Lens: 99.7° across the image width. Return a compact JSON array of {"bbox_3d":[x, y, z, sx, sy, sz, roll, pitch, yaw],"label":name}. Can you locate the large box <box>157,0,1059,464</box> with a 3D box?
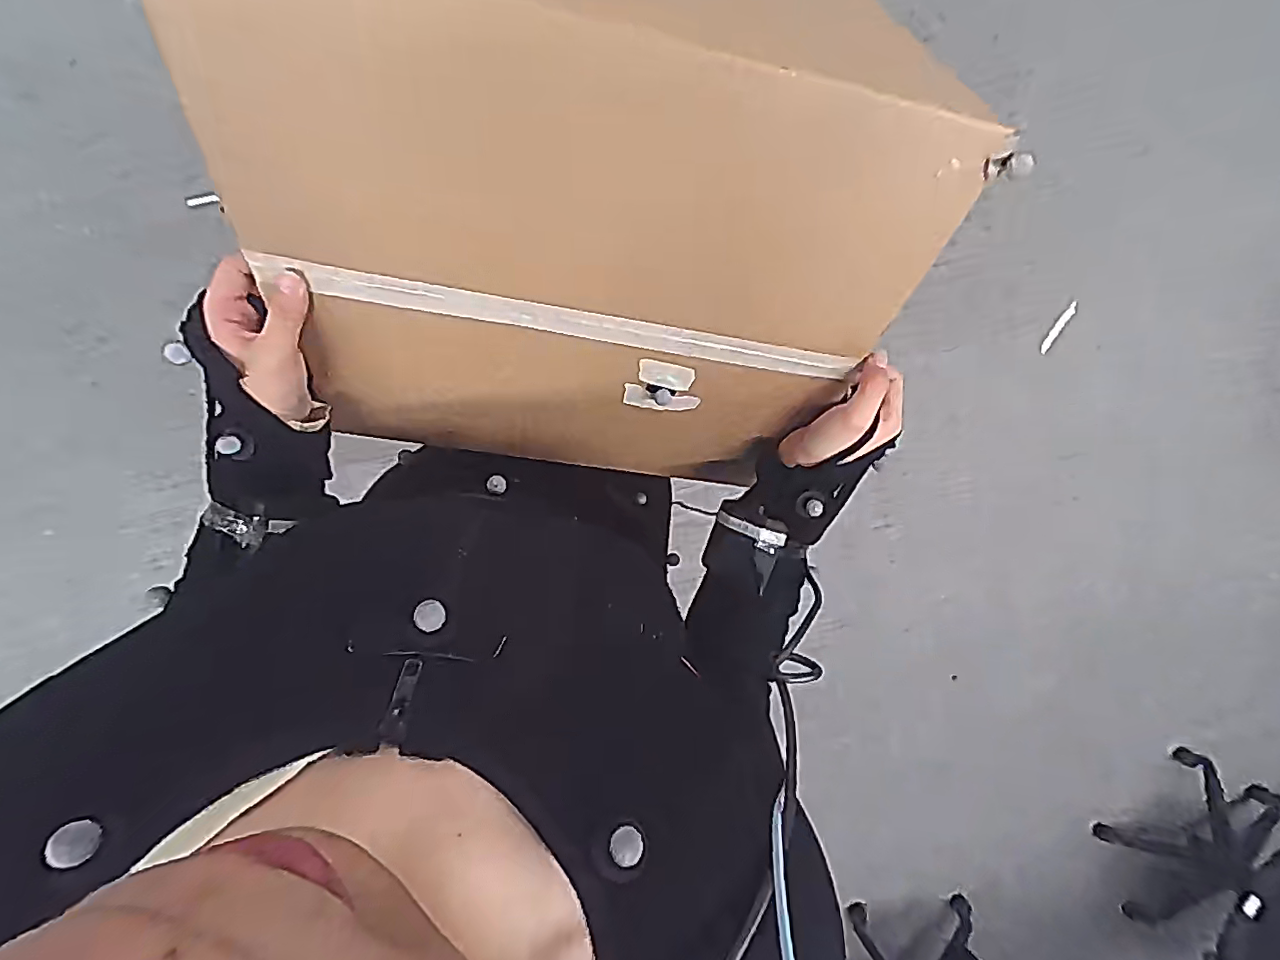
[{"bbox_3d":[-0.031,-0.241,0.425,0.408,0.320,0.320,6,144,-10],"label":"large box"}]
